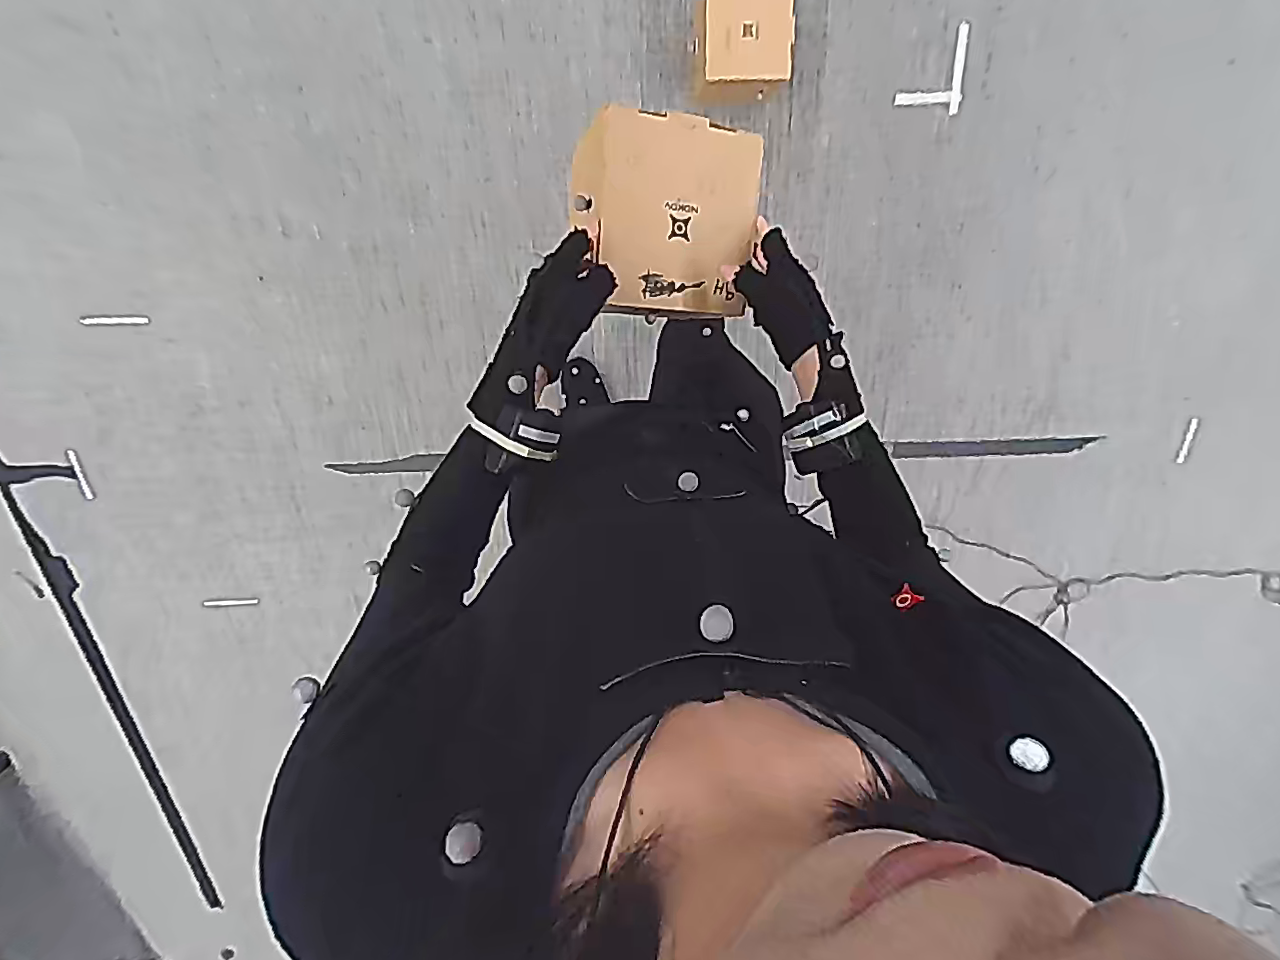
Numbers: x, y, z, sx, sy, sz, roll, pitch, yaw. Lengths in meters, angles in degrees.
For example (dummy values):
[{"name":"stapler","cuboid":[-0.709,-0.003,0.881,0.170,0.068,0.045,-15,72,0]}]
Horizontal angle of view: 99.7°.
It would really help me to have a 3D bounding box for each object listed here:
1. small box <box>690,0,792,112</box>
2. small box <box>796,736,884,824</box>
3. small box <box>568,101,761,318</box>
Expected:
[{"name":"small box","cuboid":[0.206,-0.896,1.139,0.179,0.176,0.168,-3,110,-2]},{"name":"small box","cuboid":[0.599,0.908,1.642,0.179,0.176,0.168,7,110,-5]},{"name":"small box","cuboid":[0.015,-0.282,0.610,0.168,0.176,0.179,-1,105,-18]}]
